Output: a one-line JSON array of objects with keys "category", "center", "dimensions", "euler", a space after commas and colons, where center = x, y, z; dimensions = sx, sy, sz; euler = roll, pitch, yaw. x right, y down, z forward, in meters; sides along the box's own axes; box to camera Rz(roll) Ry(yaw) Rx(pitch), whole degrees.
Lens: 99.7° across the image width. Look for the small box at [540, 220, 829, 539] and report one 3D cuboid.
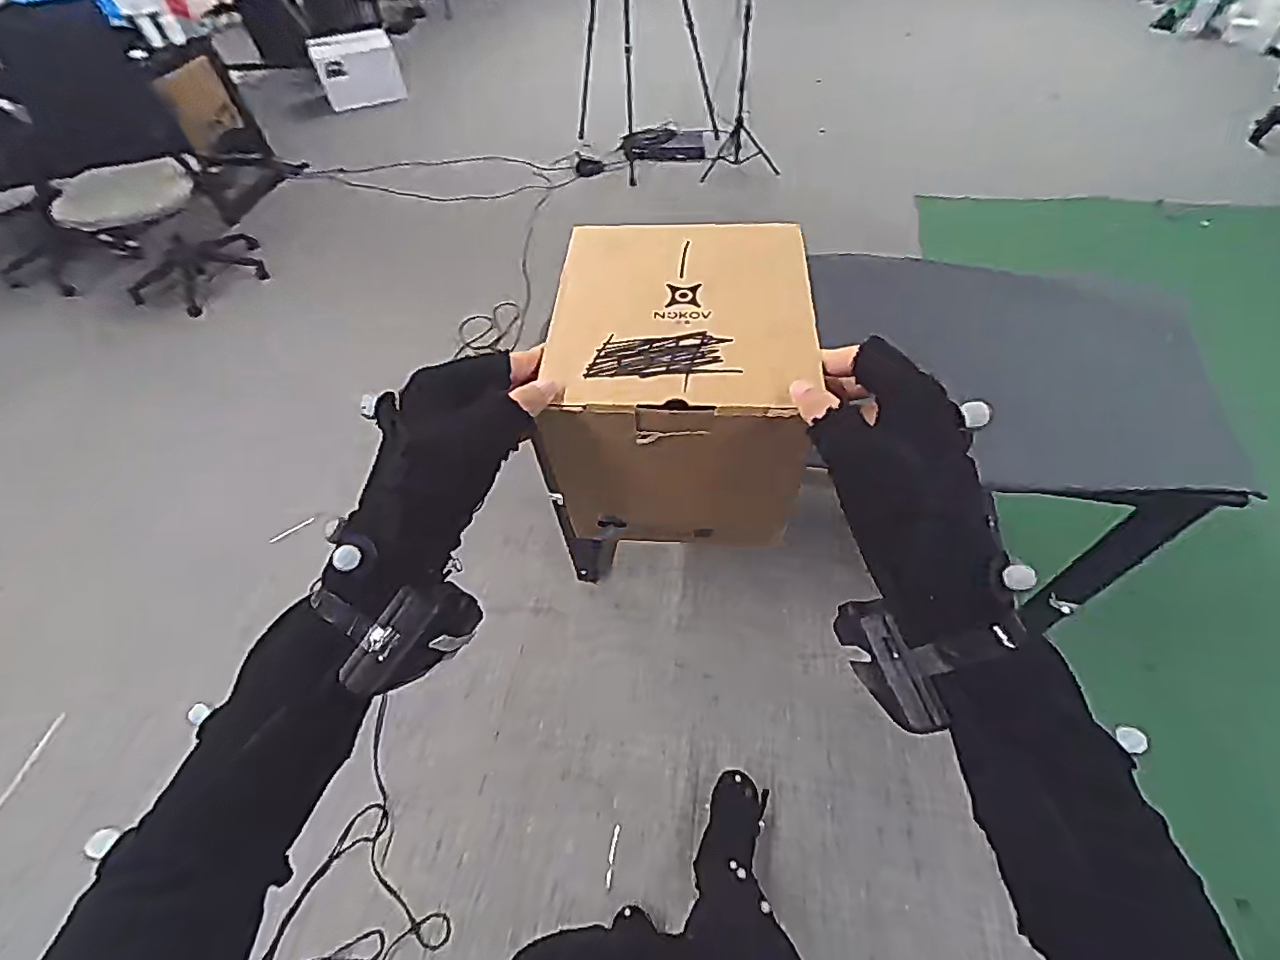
[{"category": "small box", "center": [0.036, -0.068, 0.410], "dimensions": [0.168, 0.176, 0.179], "euler": [3, 57, 6]}]
